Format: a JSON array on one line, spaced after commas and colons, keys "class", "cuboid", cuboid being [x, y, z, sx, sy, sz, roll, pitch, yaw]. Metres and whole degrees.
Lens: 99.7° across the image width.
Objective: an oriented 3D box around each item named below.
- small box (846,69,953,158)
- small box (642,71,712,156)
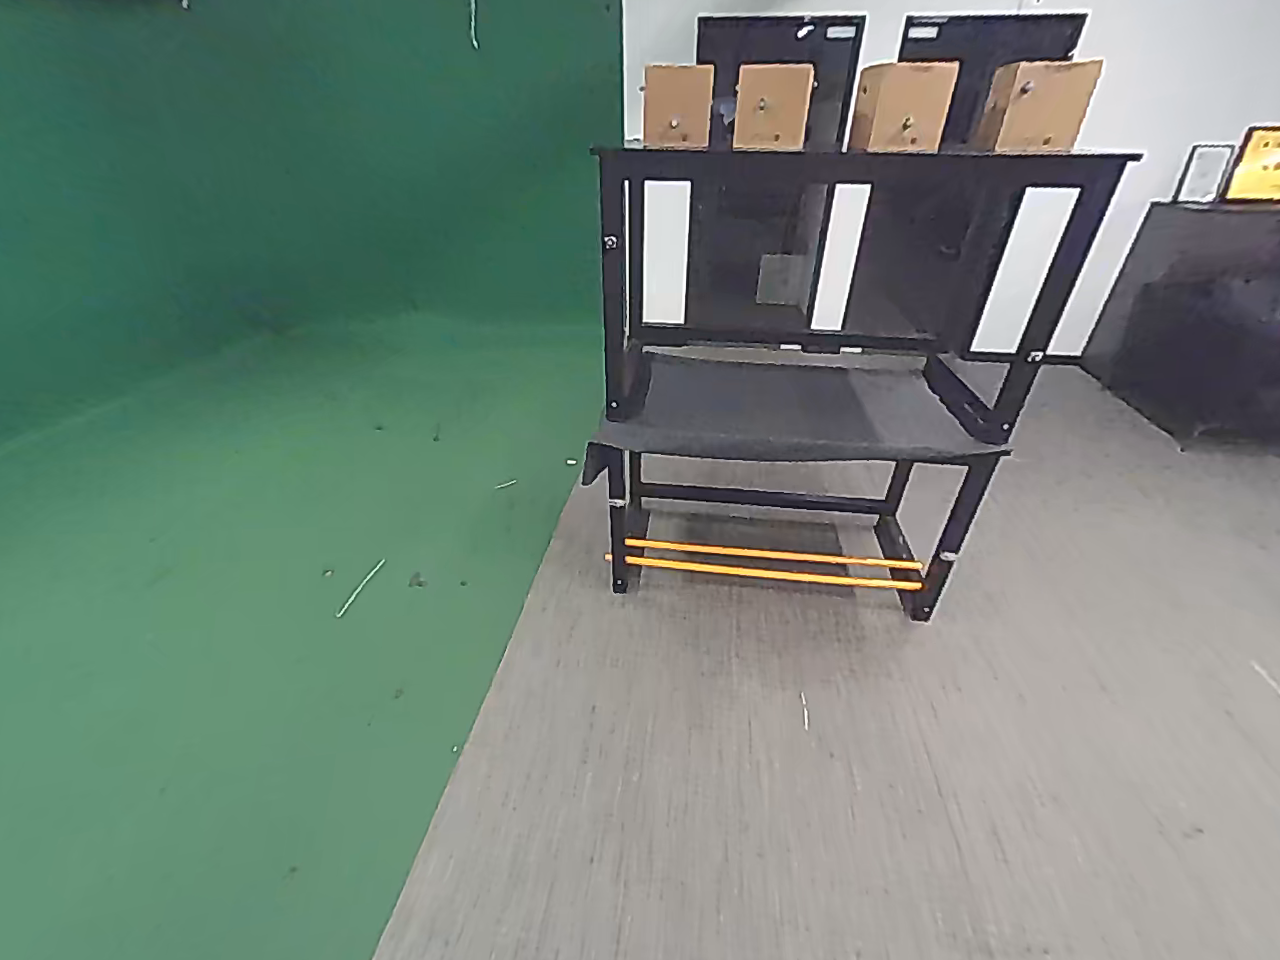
[{"class": "small box", "cuboid": [0.619, -0.889, 1.319, 0.168, 0.176, 0.179, 1, 33, 2]}, {"class": "small box", "cuboid": [0.090, -0.945, 1.399, 0.168, 0.176, 0.179, 1, 33, 0]}]
